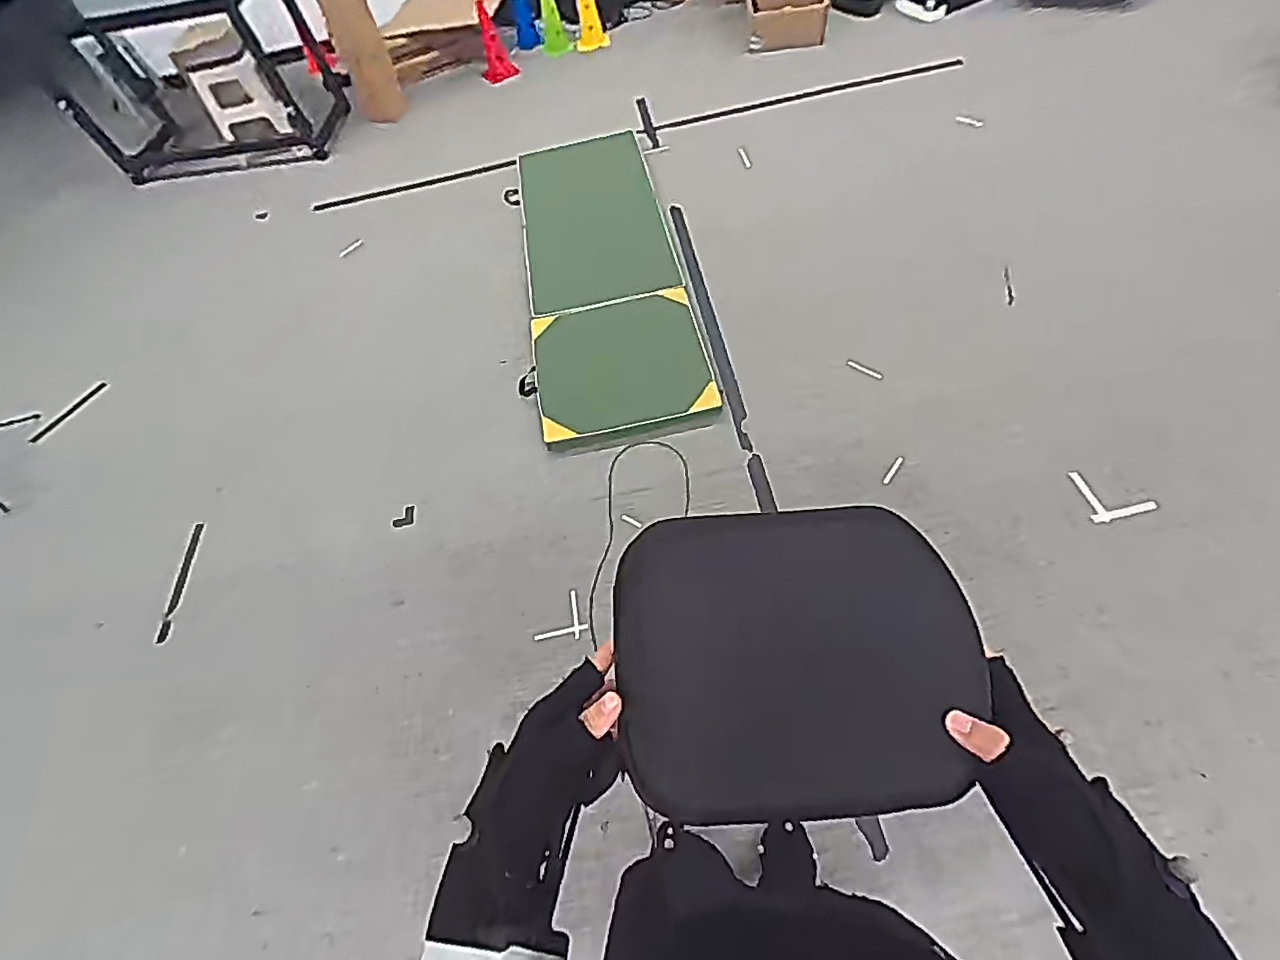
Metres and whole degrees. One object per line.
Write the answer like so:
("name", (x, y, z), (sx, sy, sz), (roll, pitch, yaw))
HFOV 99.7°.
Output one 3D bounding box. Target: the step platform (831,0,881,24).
("step platform", (1.437, -2.901, 3.120), (0.684, 0.204, 0.286), (-37, 62, -13))
